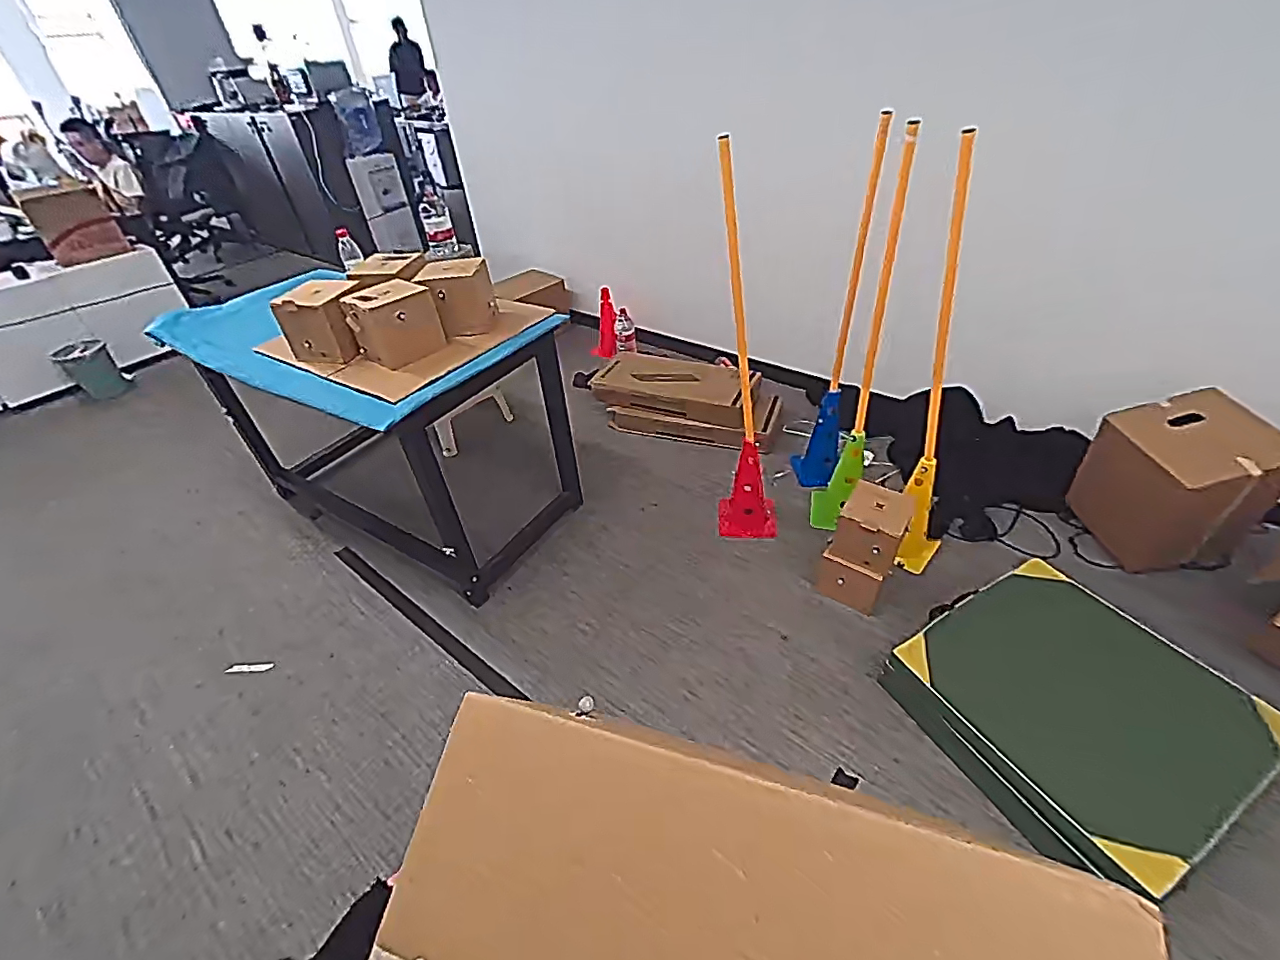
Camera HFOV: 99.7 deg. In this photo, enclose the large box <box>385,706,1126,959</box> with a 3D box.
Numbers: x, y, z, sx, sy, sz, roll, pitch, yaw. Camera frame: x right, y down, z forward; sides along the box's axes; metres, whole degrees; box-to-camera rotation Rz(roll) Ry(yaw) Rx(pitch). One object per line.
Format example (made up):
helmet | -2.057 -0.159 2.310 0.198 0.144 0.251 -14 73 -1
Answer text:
large box | 0.055 0.389 0.413 0.408 0.320 0.320 9 68 15
